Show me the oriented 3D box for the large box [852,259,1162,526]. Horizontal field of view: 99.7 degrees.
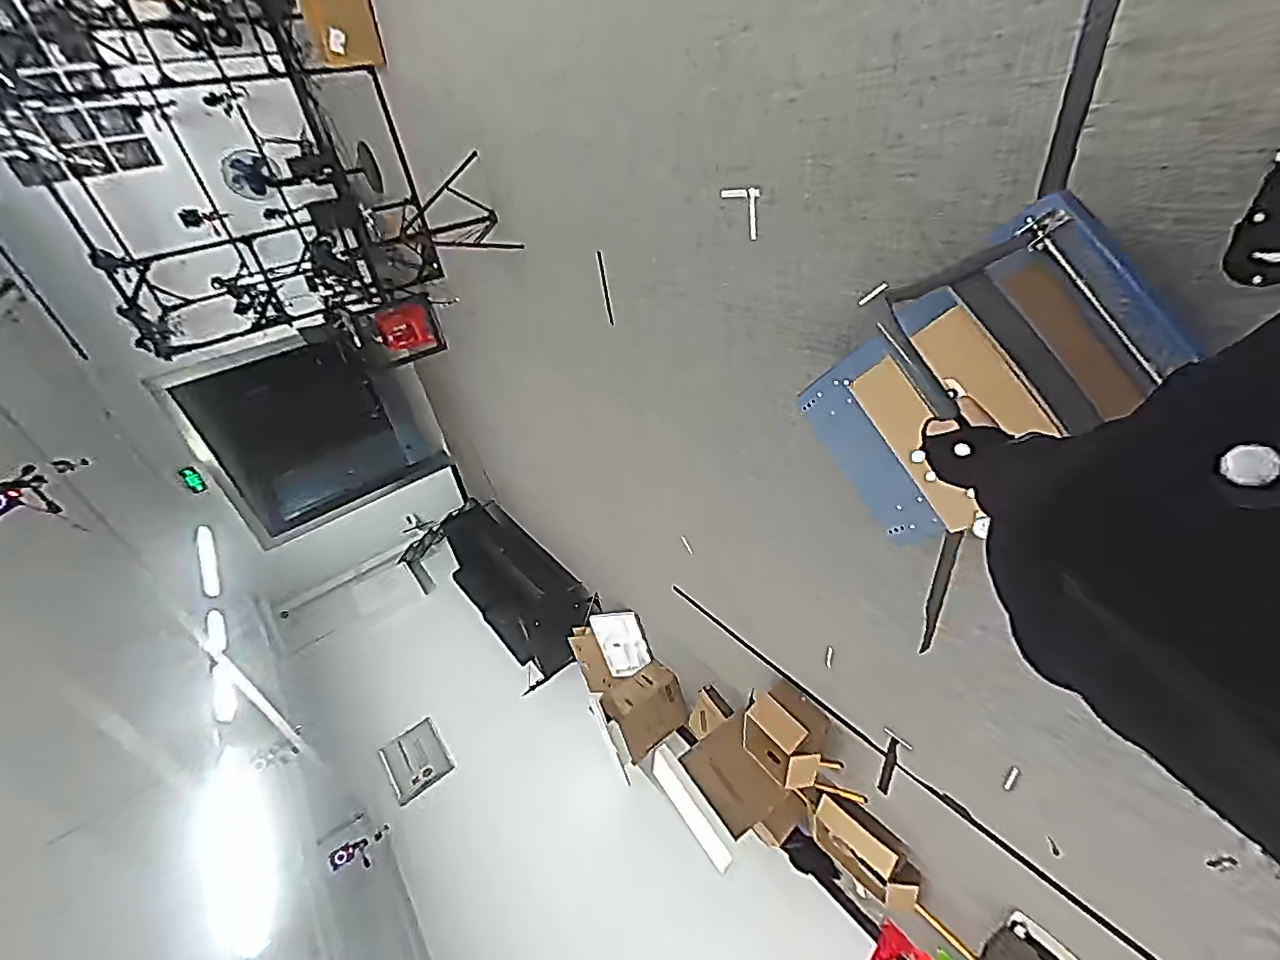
[{"bbox_3d":[0.754,-0.176,1.143,0.408,0.320,0.320,58,153,7],"label":"large box"}]
